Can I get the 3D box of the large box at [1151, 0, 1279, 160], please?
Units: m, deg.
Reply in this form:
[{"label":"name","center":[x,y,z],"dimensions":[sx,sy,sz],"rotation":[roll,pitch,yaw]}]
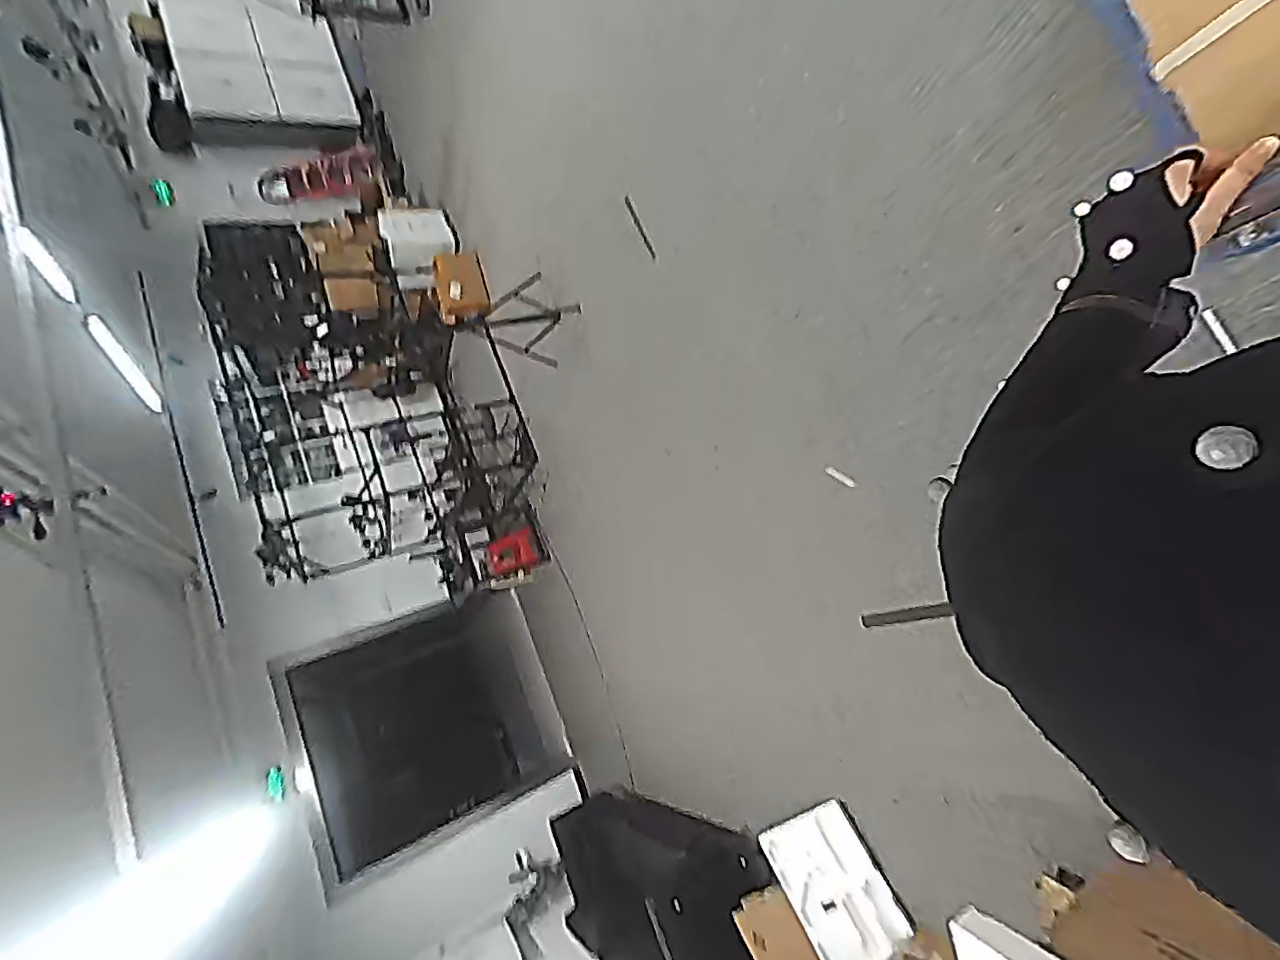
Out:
[{"label":"large box","center":[0.911,-0.636,0.600],"dimensions":[0.408,0.320,0.320],"rotation":[-30,79,61]}]
